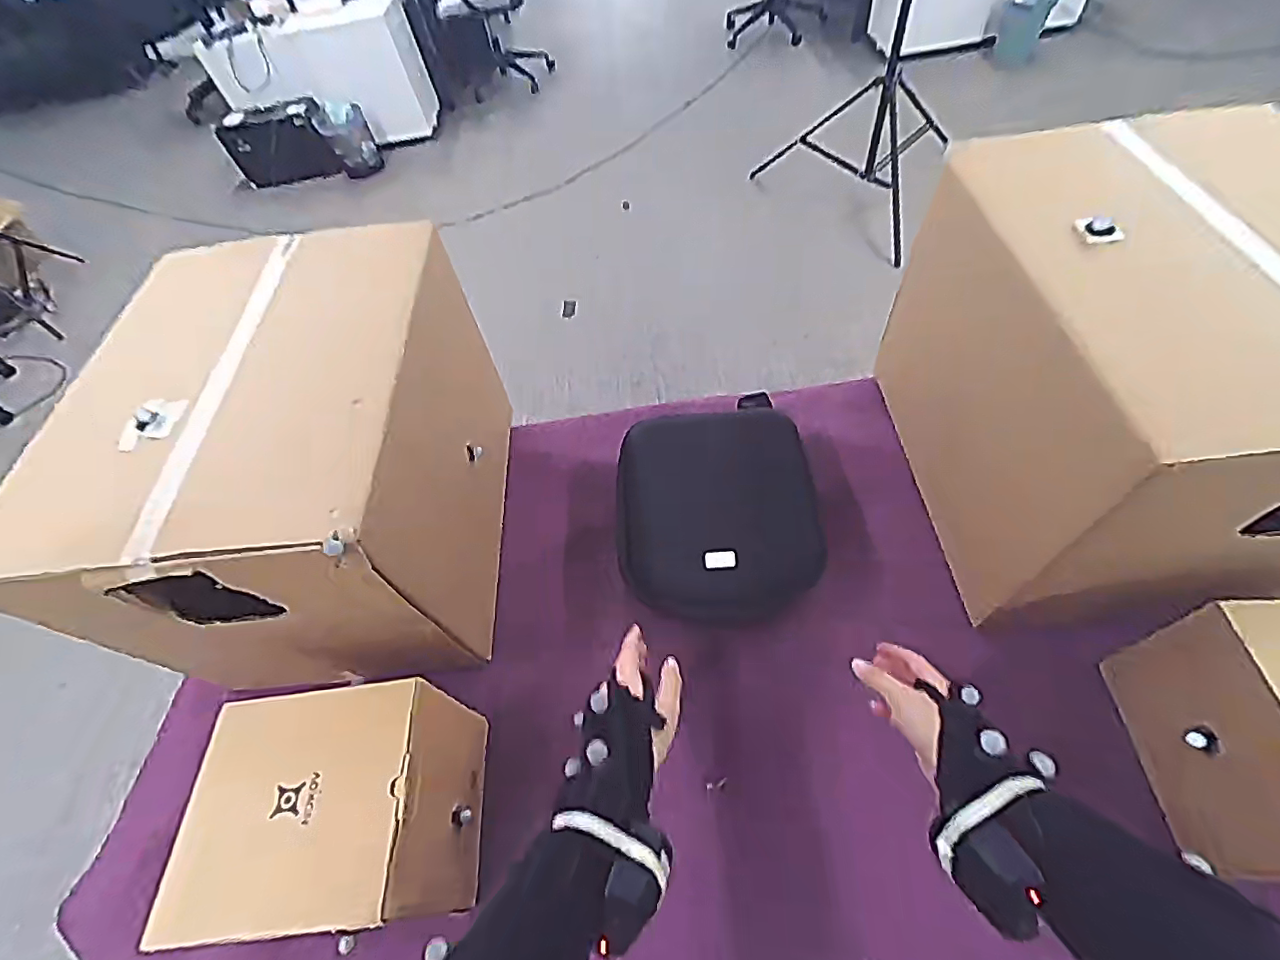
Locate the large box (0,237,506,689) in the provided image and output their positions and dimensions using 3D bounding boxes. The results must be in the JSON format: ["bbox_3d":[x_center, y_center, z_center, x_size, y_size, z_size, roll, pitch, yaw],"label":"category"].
[{"bbox_3d":[-0.349,-0.012,0.624,0.320,0.320,0.408,-7,57,2],"label":"large box"}]

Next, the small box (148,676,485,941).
[{"bbox_3d":[-0.257,0.294,0.485,0.179,0.176,0.168,-9,53,1],"label":"small box"}]
